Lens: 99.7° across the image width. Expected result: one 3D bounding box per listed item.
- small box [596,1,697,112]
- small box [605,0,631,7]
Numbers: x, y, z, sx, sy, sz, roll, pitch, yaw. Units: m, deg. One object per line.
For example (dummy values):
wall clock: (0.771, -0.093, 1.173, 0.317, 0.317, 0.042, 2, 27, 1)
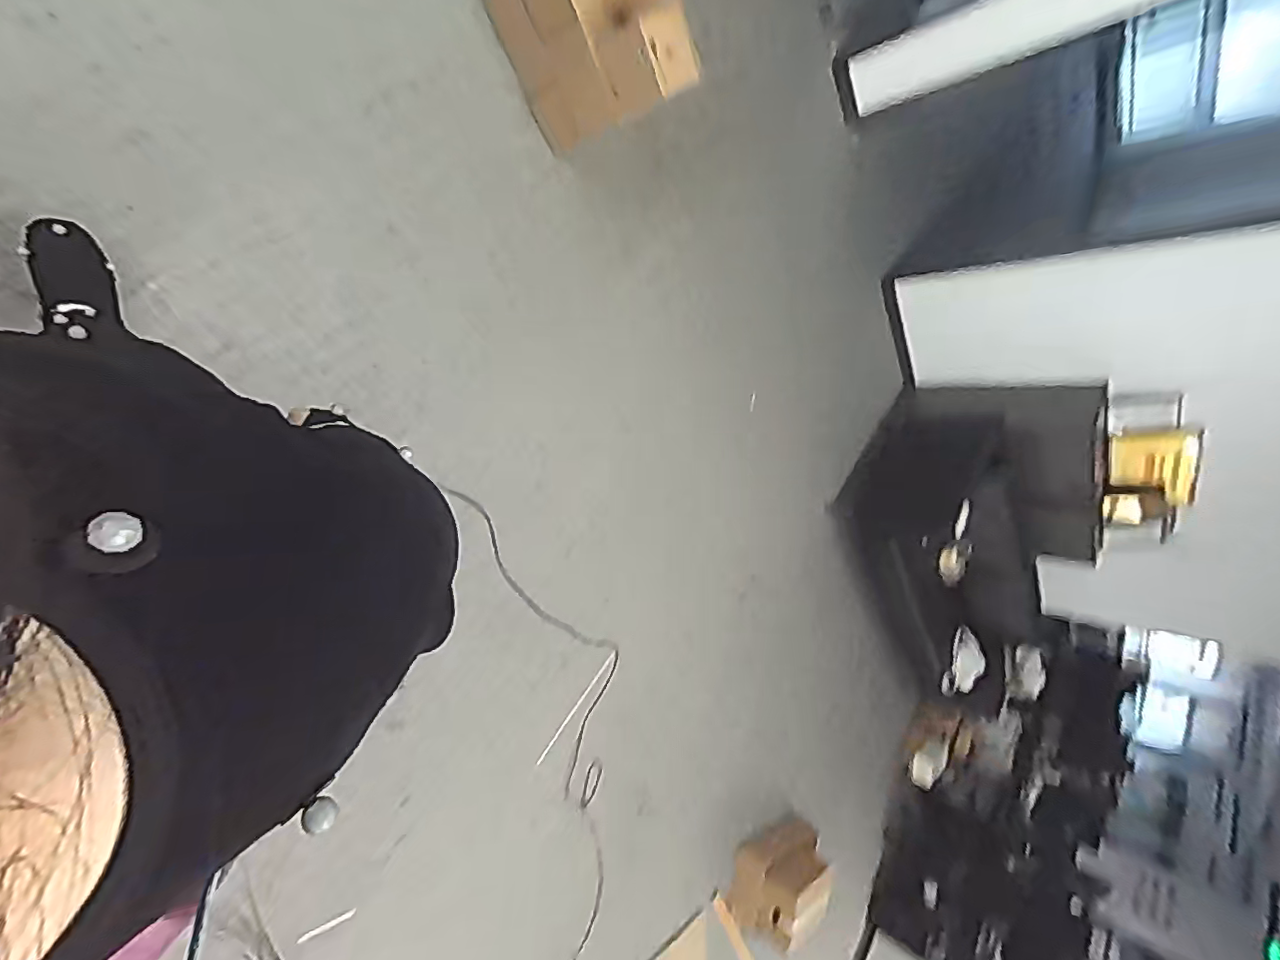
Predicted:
small box: (0.016, -1.105, 1.418, 0.179, 0.176, 0.168, -48, 126, -30)
small box: (-0.015, -1.341, 1.359, 0.179, 0.176, 0.168, -50, 127, -29)
